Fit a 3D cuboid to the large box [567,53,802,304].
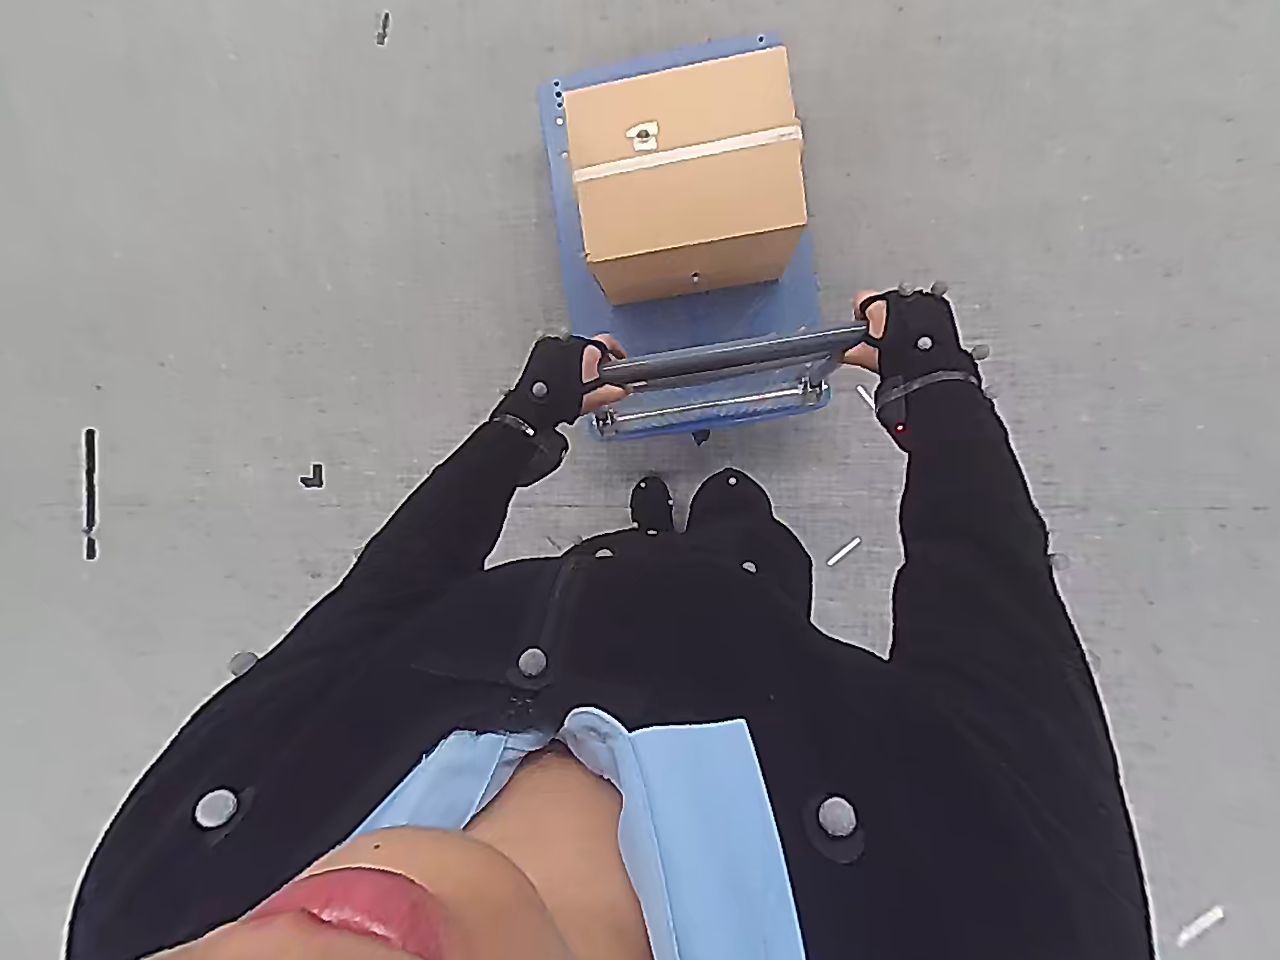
[{"bbox_3d":[0.096,-0.594,1.143,0.408,0.320,0.320,-8,91,7],"label":"large box"}]
